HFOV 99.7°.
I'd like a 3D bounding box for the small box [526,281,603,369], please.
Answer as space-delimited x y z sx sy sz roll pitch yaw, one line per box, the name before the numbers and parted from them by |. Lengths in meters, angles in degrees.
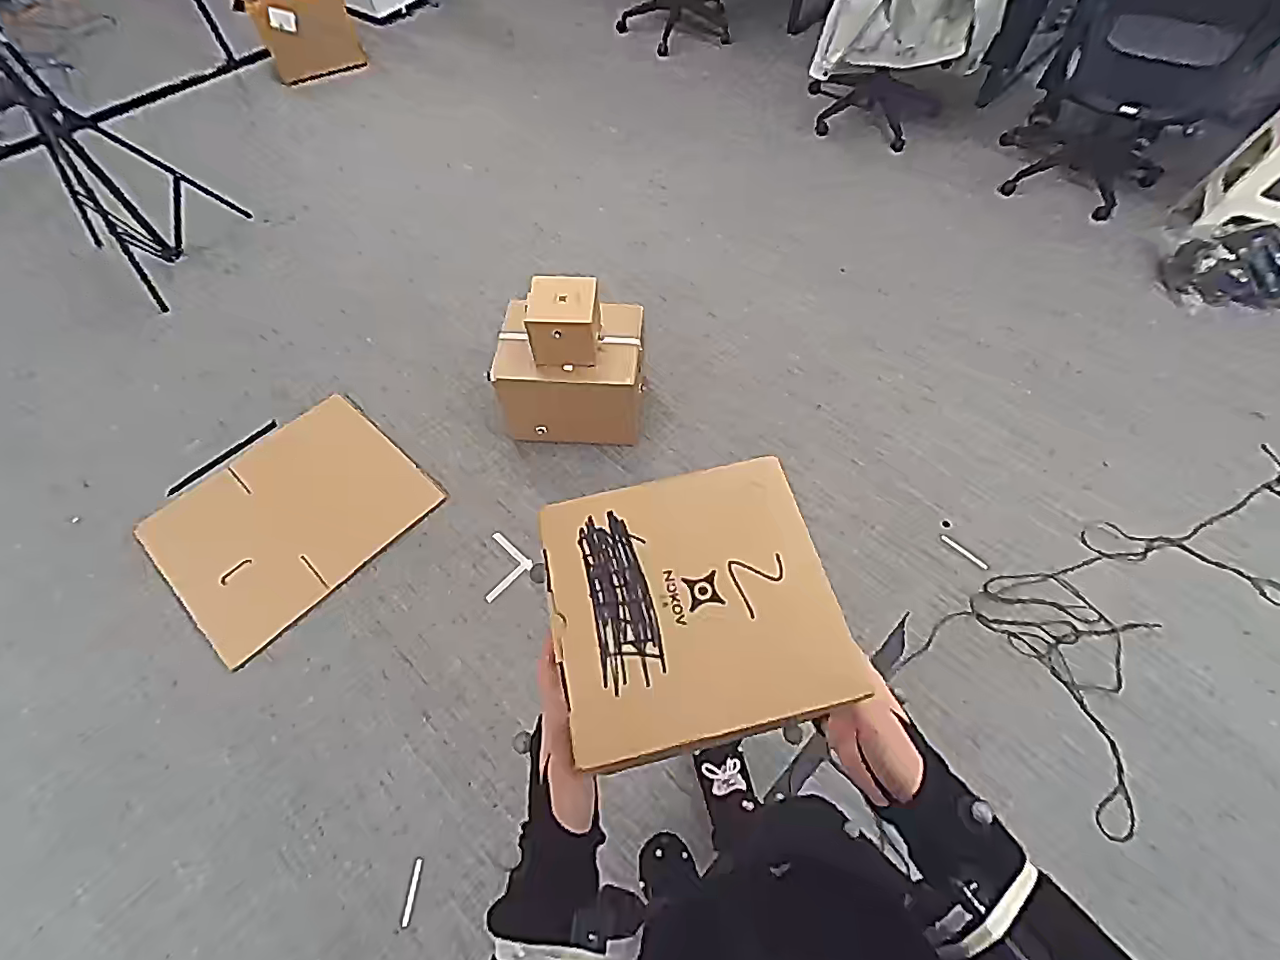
small box | -0.199 -0.418 1.470 0.179 0.176 0.168 2 62 1
